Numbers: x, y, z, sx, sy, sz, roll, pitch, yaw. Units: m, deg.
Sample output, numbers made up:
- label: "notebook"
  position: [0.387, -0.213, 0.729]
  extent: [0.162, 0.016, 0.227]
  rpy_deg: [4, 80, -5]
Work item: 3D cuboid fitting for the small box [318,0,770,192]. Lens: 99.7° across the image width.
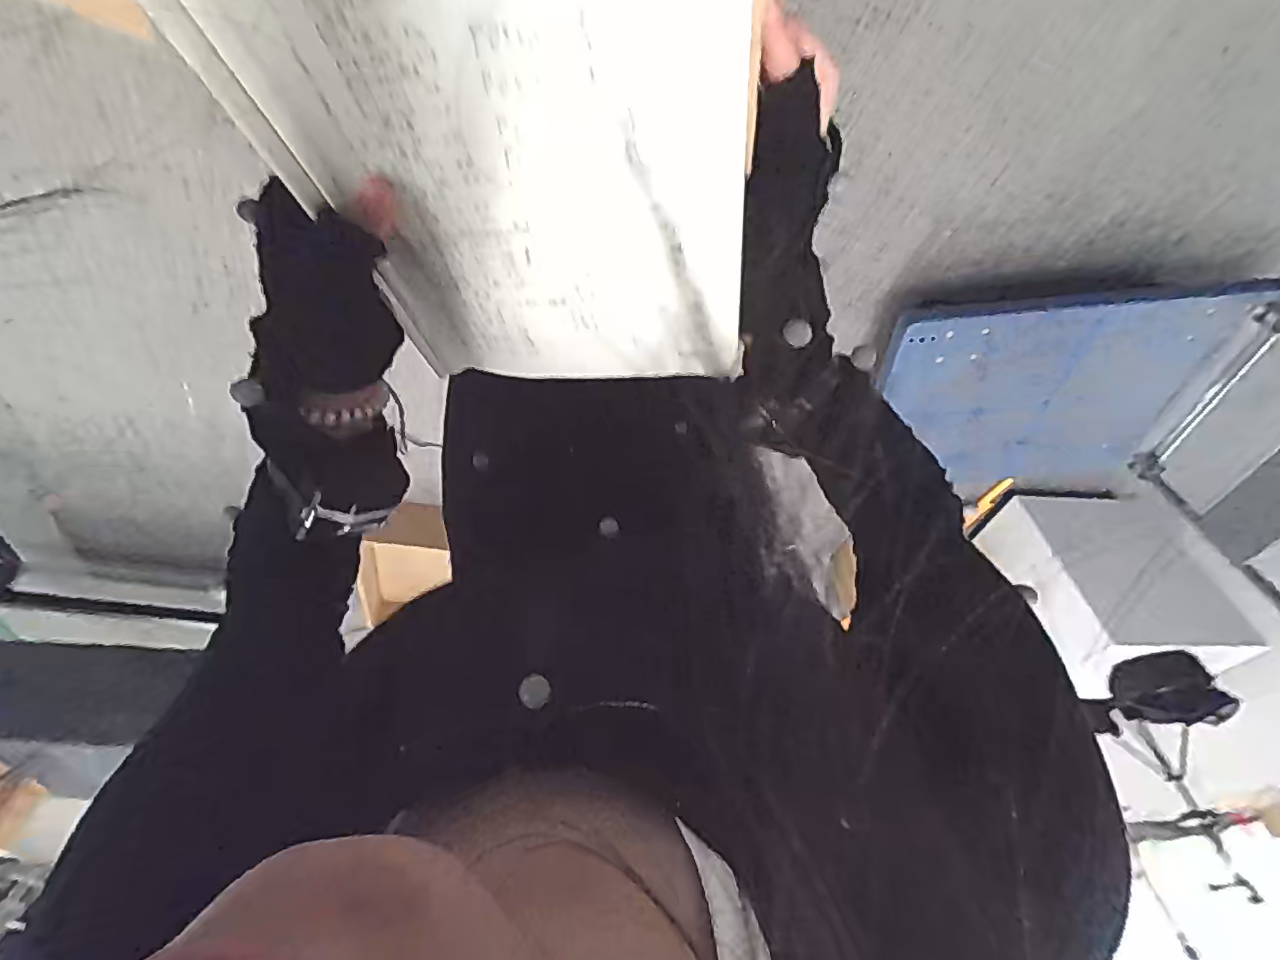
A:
- label: "small box"
  position: [-0.039, -0.255, 0.243]
  extent: [0.179, 0.176, 0.168]
  rpy_deg: [-3, 144, 1]
